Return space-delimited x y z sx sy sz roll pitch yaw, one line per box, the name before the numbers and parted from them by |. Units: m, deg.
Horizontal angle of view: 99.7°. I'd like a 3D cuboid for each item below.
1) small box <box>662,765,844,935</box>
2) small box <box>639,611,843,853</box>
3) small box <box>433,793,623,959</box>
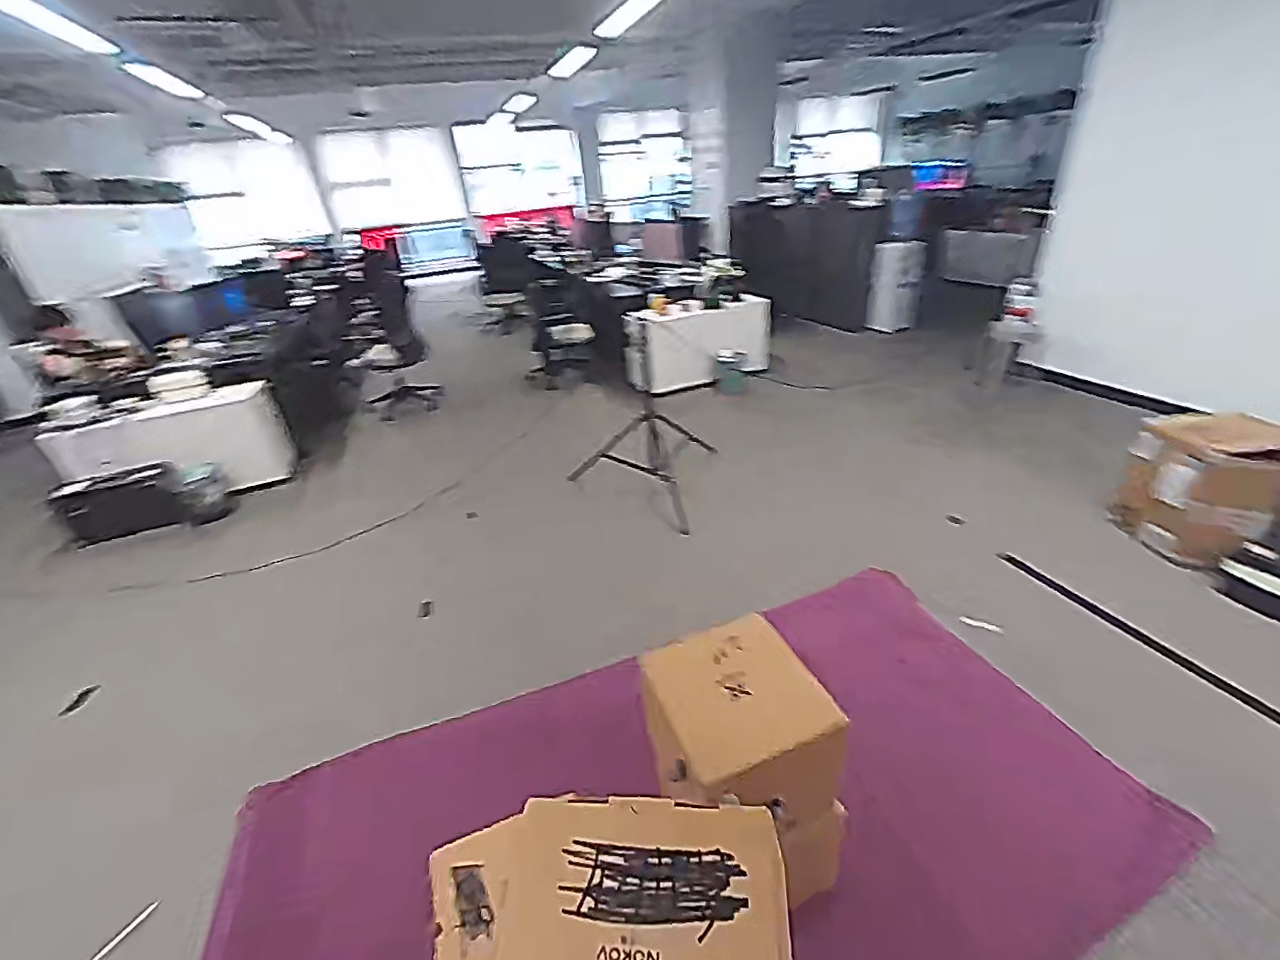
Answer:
small box | 0.137 0.438 0.710 0.179 0.176 0.168 -16 31 -15
small box | 0.111 0.294 0.634 0.168 0.176 0.179 -16 30 -16
small box | -0.125 0.515 0.623 0.179 0.176 0.168 -15 30 -17
